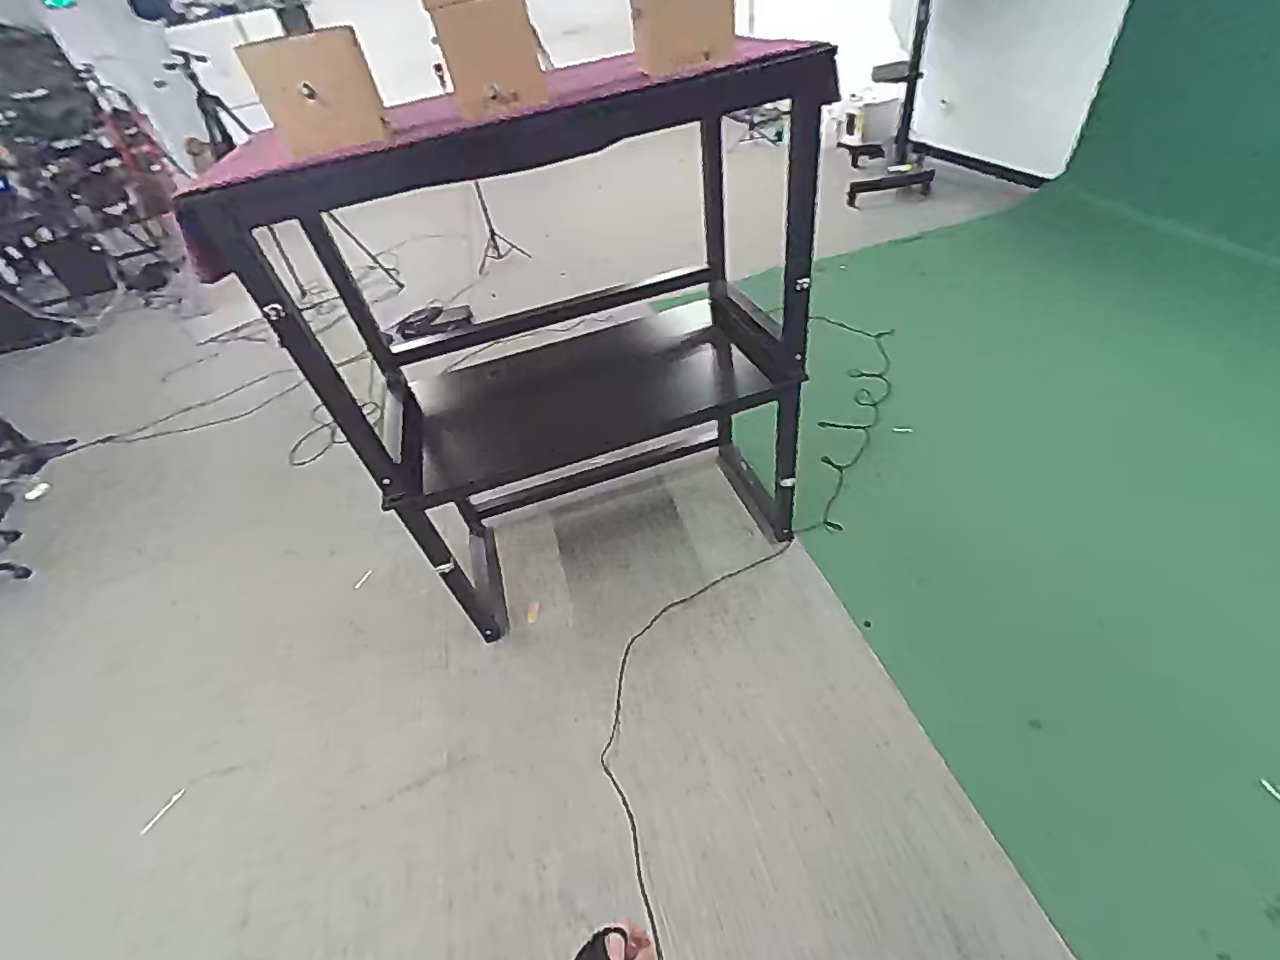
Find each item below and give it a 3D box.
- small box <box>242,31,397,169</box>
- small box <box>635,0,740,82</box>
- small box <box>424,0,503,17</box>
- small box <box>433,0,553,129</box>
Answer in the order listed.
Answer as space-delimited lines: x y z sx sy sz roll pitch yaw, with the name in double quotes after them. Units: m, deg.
-0.565 -0.693 0.986 0.179 0.176 0.168 -18 42 -5 "small box"
0.088 -0.900 1.058 0.168 0.176 0.179 -16 43 -2 "small box"
-0.299 -0.895 0.901 0.179 0.176 0.168 -17 42 -4 "small box"
-0.271 -0.780 1.015 0.168 0.176 0.179 -17 43 -3 "small box"
